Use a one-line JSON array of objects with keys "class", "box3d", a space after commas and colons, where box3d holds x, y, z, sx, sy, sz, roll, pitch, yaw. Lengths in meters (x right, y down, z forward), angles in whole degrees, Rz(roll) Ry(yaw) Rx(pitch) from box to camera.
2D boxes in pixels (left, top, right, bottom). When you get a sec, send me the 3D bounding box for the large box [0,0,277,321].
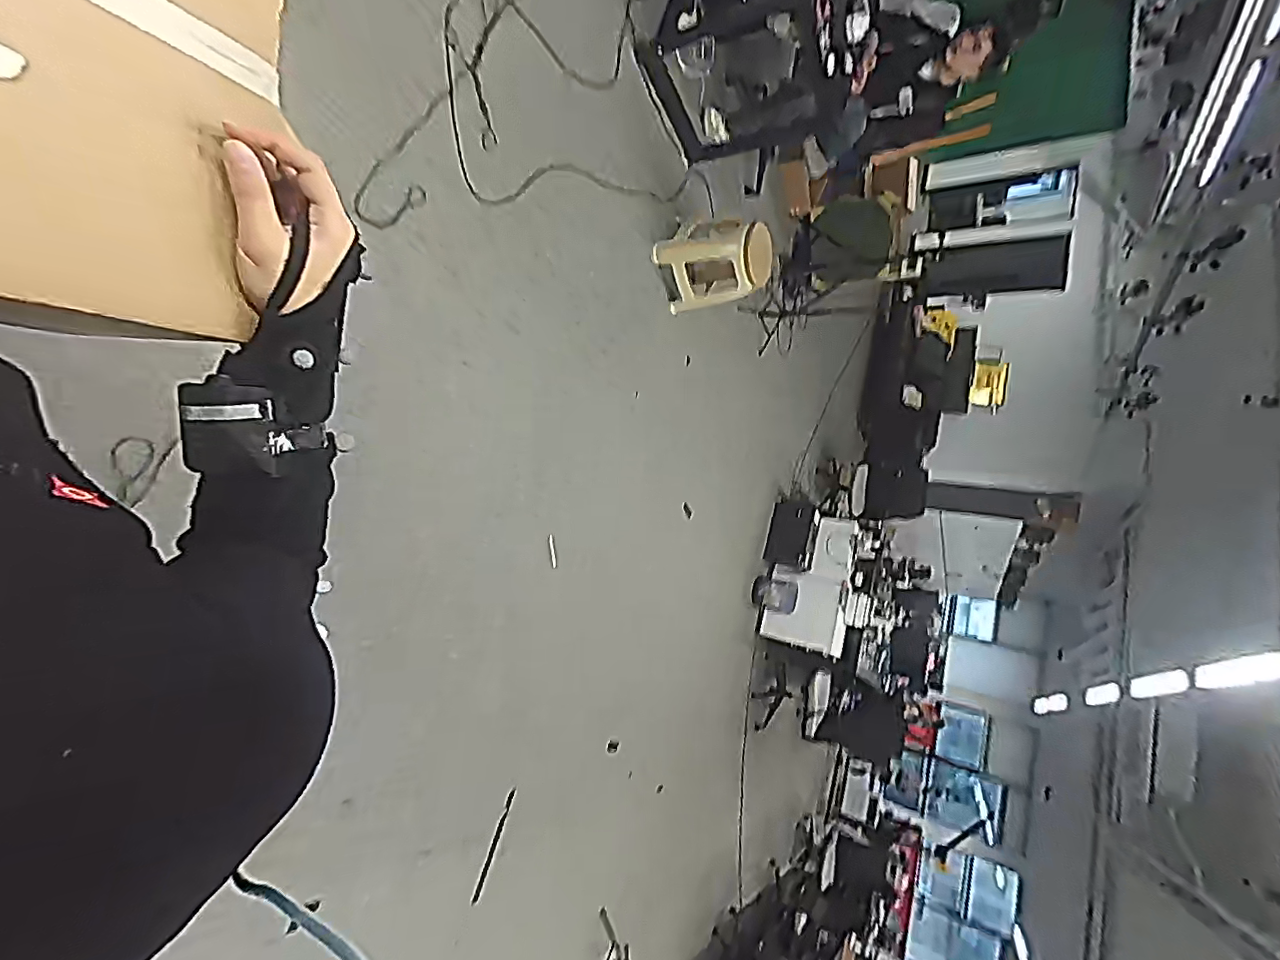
[{"class": "large box", "box3d": [-0.460, -0.268, 0.237, 0.408, 0.320, 0.320, -2, 101, -62]}]
